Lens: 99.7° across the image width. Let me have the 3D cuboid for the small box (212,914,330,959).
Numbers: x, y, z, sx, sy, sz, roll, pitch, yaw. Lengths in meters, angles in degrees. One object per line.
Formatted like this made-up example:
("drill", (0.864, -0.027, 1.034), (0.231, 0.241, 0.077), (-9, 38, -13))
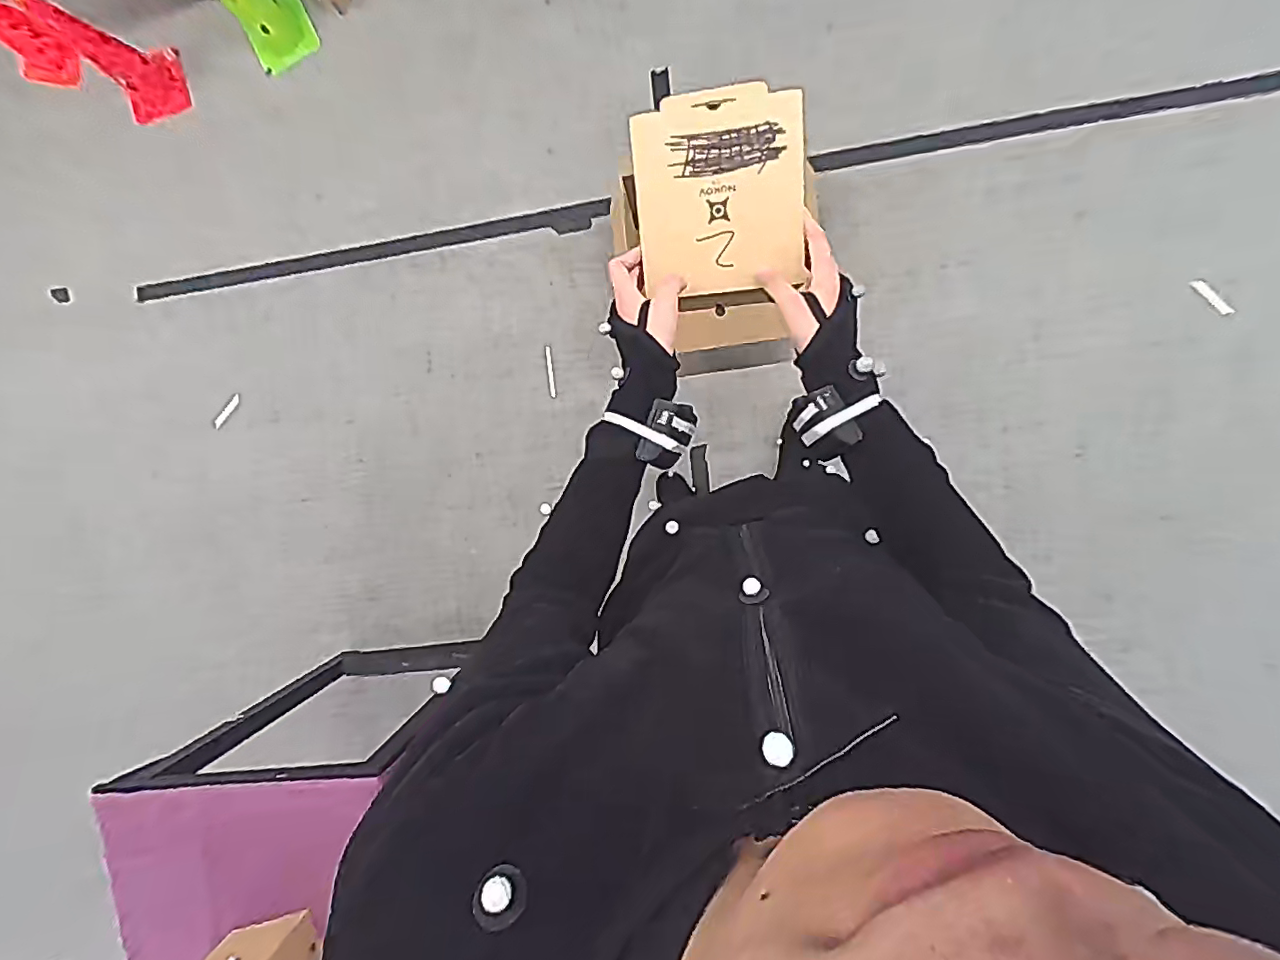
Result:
("small box", (-0.686, 0.928, 0.959), (0.179, 0.176, 0.168), (-20, 92, 6))
